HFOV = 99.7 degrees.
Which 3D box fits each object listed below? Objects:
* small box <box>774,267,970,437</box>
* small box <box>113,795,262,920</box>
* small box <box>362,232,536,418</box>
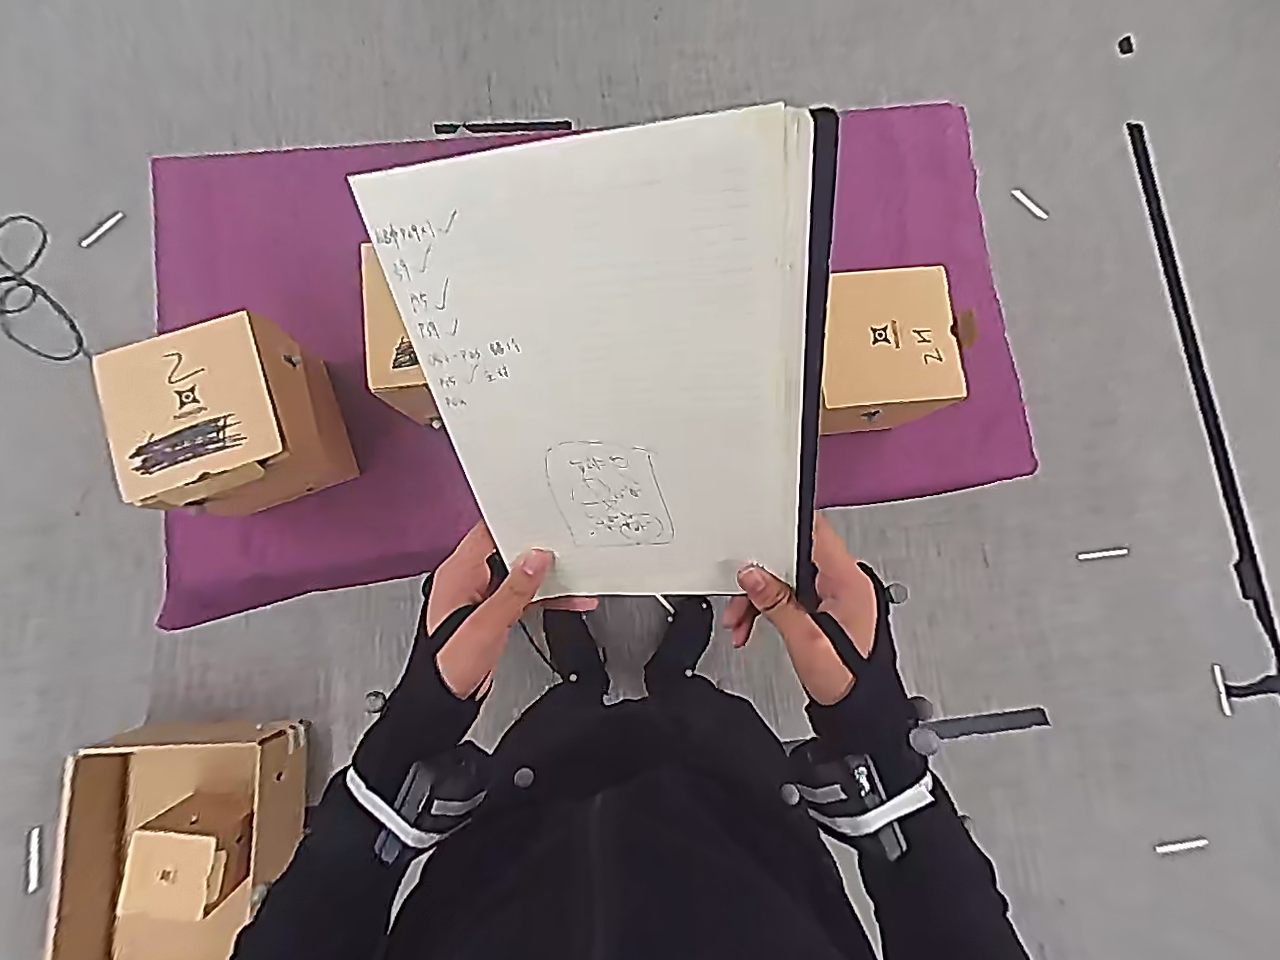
[{"bbox_3d":[0.285,-0.156,0.708,0.179,0.176,0.168,-5,83,-4],"label":"small box"},{"bbox_3d":[-0.982,0.821,1.193,0.179,0.176,0.168,8,83,-3],"label":"small box"},{"bbox_3d":[-0.227,-0.180,0.680,0.168,0.176,0.179,-6,82,-5],"label":"small box"}]
